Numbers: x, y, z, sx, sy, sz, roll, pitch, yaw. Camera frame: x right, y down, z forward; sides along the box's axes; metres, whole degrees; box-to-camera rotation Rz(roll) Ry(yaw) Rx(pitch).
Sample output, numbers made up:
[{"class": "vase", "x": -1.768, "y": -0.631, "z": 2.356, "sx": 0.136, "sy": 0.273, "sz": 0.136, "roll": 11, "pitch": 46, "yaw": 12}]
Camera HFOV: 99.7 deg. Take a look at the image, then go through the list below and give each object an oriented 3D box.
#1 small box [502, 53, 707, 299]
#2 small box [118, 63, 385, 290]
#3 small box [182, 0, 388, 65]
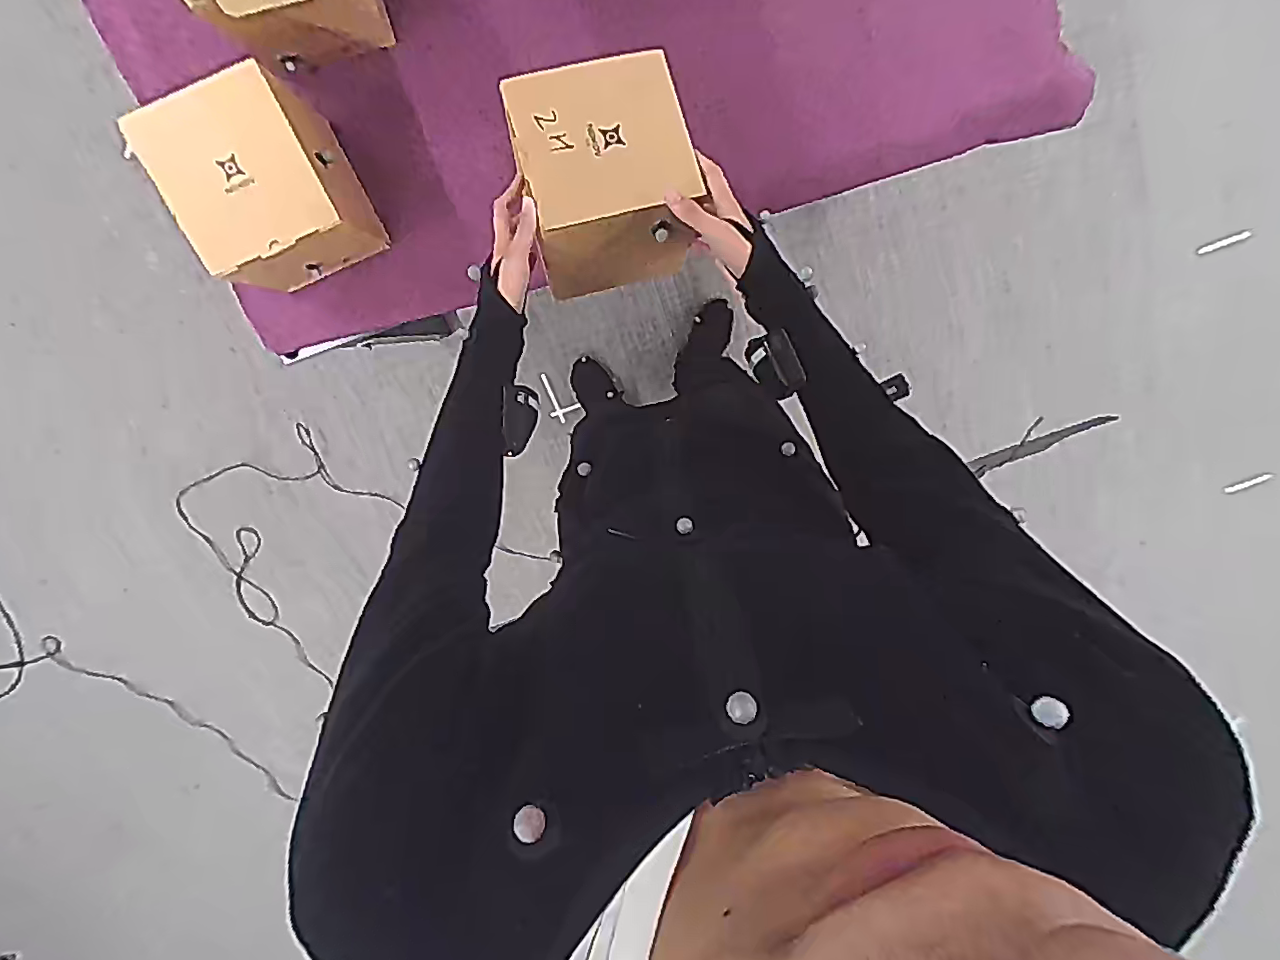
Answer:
[{"class": "small box", "x": -0.042, "y": -0.332, "z": 0.621, "sx": 0.179, "sy": 0.176, "sz": 0.168, "roll": -16, "pitch": 87, "yaw": -6}, {"class": "small box", "x": -0.456, "y": -0.355, "z": 0.670, "sx": 0.168, "sy": 0.176, "sz": 0.179, "roll": -24, "pitch": 106, "yaw": 1}, {"class": "small box", "x": -0.414, "y": -0.605, "z": 0.606, "sx": 0.168, "sy": 0.176, "sz": 0.179, "roll": -14, "pitch": 106, "yaw": -1}]
